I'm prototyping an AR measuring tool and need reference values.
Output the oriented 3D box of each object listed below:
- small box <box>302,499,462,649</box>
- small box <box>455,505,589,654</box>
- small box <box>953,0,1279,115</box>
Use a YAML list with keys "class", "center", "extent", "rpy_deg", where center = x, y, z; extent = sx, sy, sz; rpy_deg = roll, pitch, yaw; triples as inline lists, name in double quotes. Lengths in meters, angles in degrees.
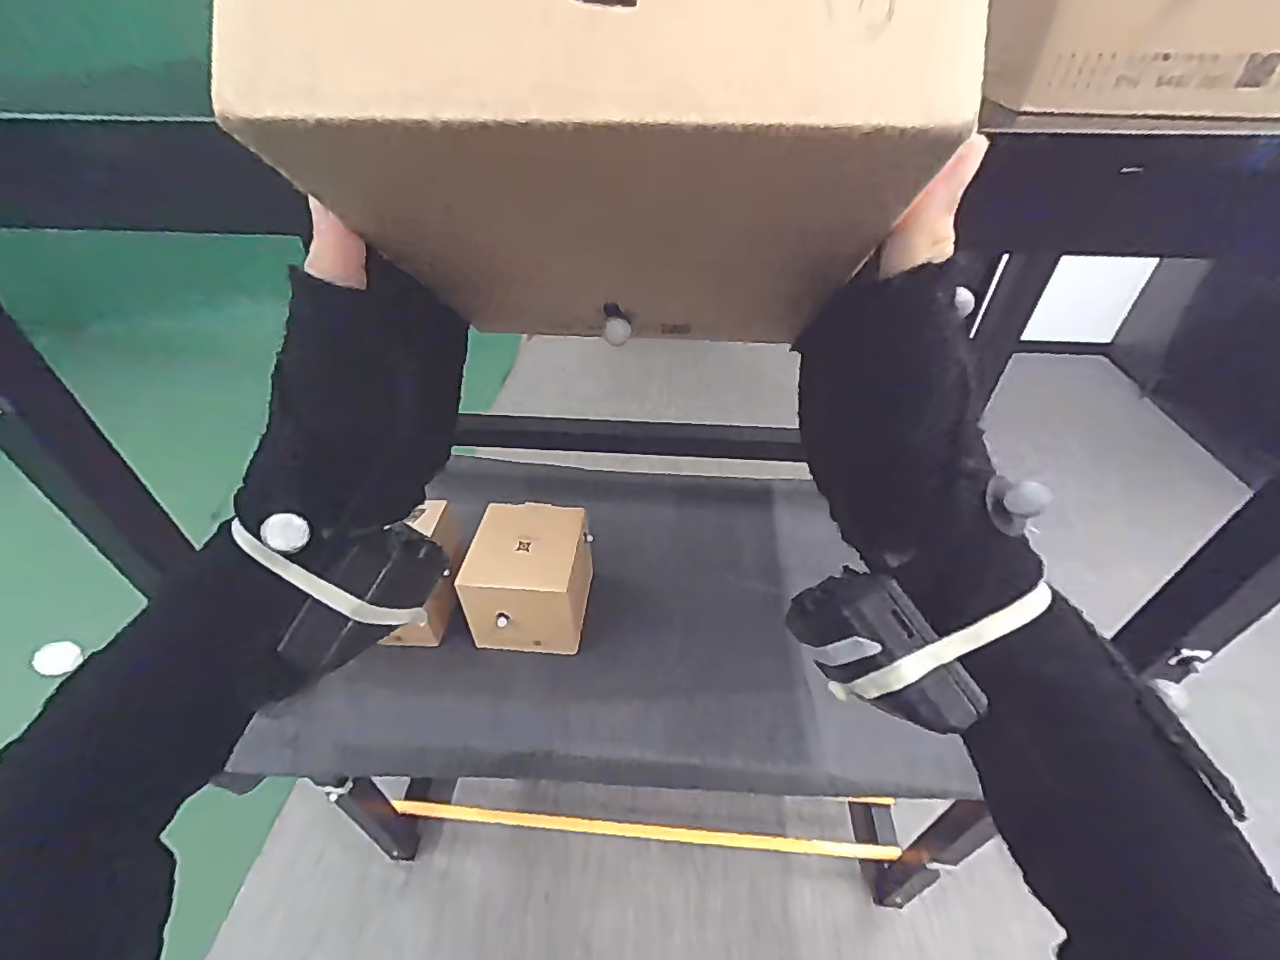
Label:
- class: "small box"
  center: [-0.404, 0.152, 0.888]
  extent: [0.168, 0.176, 0.179]
  rpy_deg: [1, 40, 2]
- class: "small box"
  center: [-0.177, 0.162, 0.880]
  extent: [0.168, 0.176, 0.179]
  rpy_deg: [3, 39, 3]
- class: "small box"
  center: [0.308, -0.318, 0.310]
  extent: [0.168, 0.176, 0.179]
  rpy_deg: [9, 40, 10]
